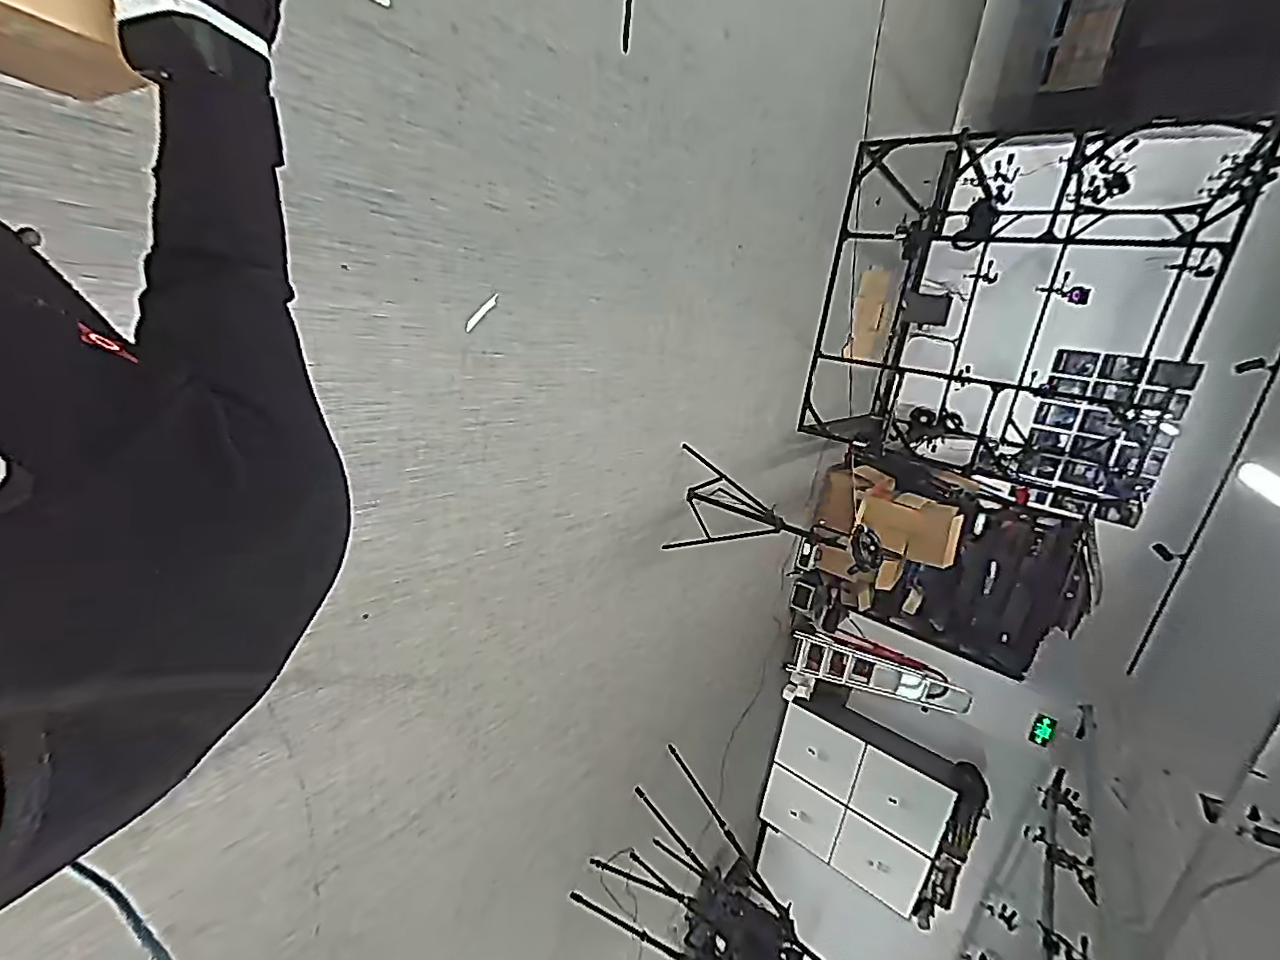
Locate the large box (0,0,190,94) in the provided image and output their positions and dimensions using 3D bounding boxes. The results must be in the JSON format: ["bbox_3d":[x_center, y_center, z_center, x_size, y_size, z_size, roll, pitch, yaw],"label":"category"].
[{"bbox_3d":[-0.533,-0.468,0.274,0.408,0.320,0.320,-9,116,-54],"label":"large box"}]
